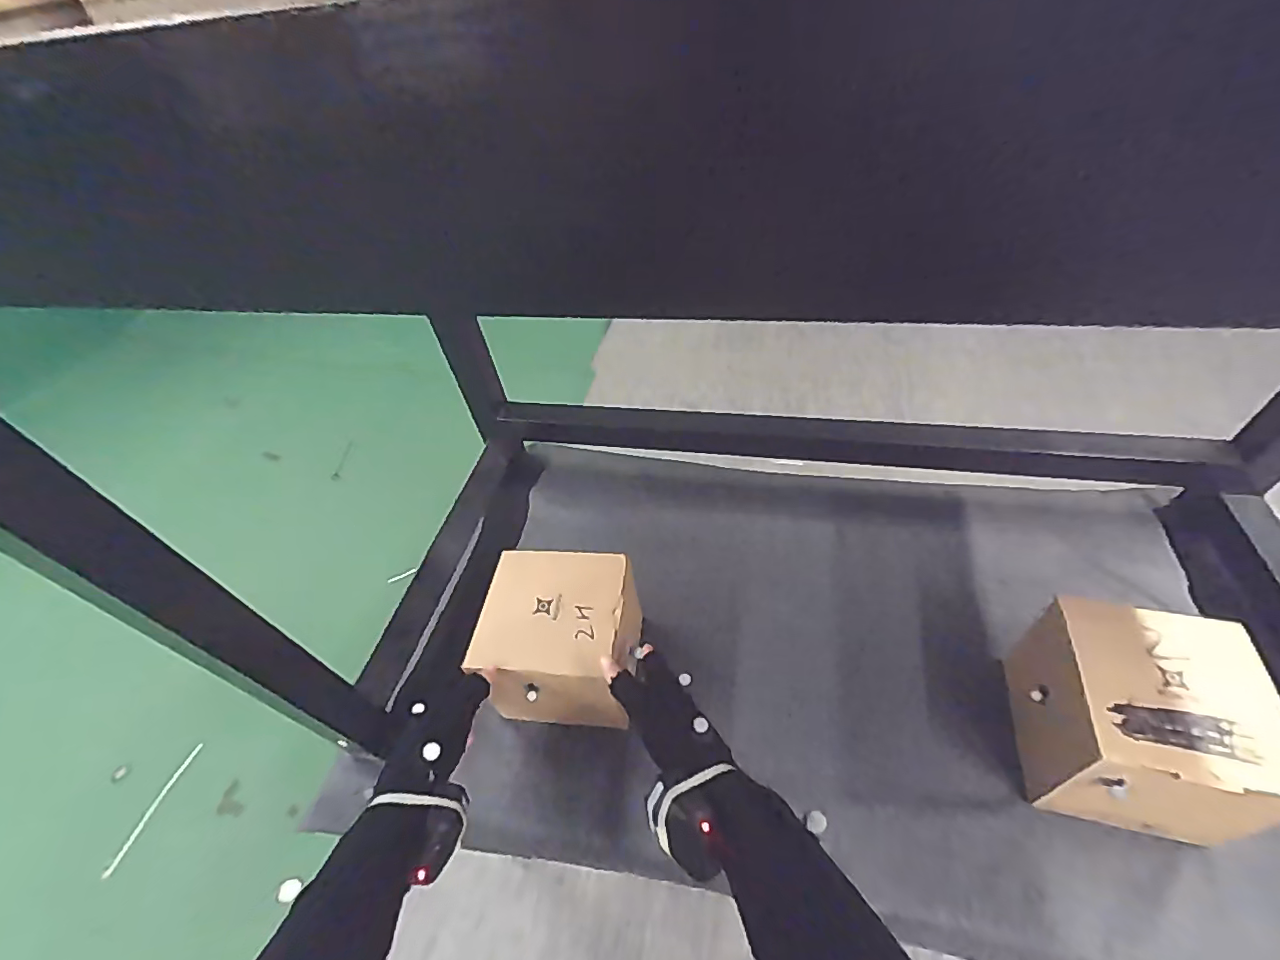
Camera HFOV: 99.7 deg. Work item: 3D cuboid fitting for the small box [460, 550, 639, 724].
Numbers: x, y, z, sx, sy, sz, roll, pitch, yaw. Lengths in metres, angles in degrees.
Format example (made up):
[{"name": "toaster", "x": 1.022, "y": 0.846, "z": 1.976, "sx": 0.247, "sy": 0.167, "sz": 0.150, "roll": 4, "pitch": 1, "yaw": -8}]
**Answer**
[{"name": "small box", "x": -0.105, "y": 0.211, "z": 0.723, "sx": 0.179, "sy": 0.176, "sz": 0.168, "roll": 2, "pitch": 49, "yaw": 9}]
